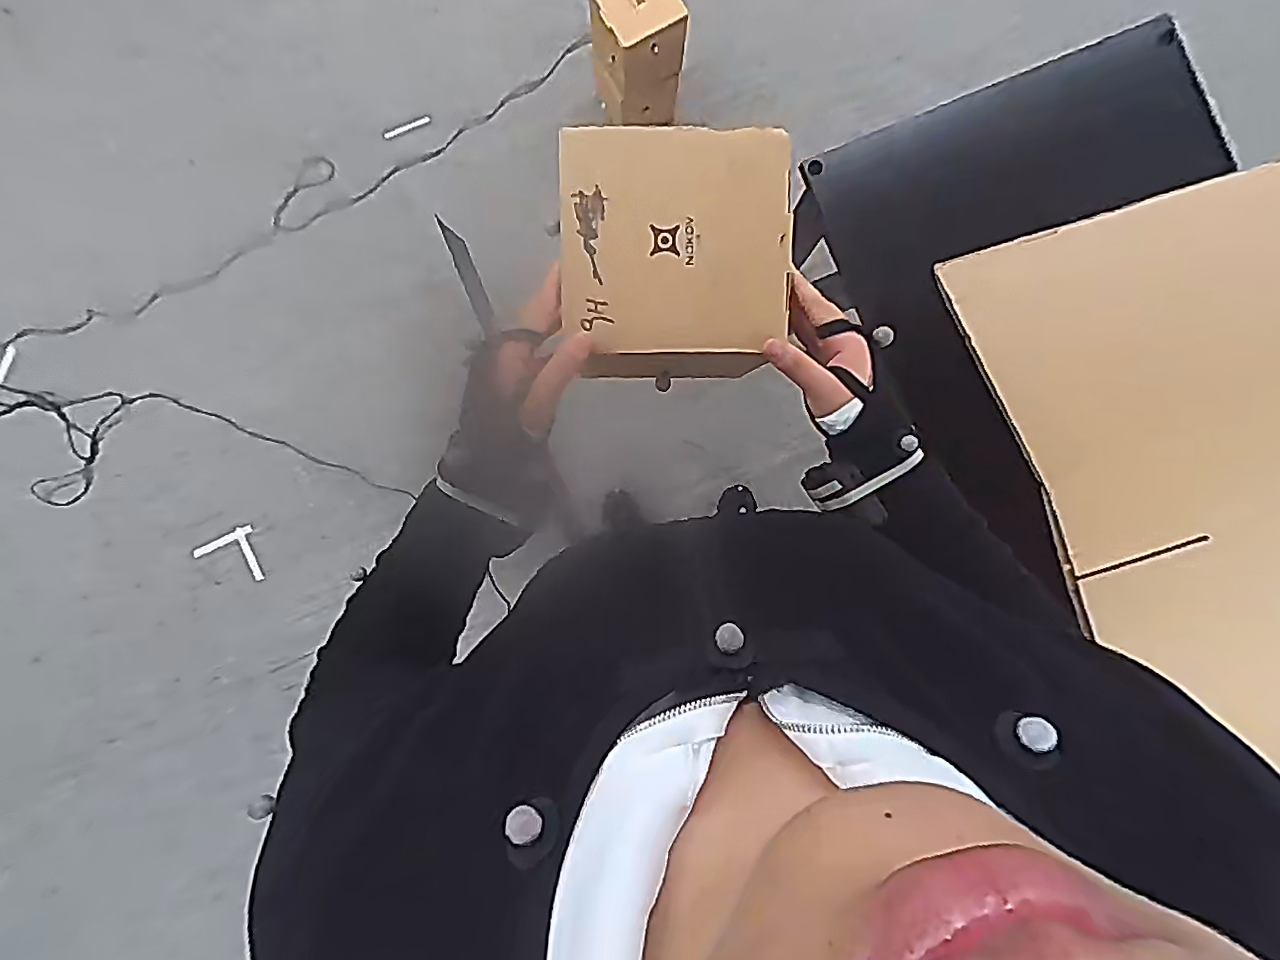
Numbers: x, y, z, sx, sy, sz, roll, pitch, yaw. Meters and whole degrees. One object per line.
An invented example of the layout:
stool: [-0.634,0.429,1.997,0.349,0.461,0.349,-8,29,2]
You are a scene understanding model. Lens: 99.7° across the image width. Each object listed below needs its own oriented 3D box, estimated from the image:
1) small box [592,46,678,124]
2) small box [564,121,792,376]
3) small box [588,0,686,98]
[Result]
small box: [-0.015,-1.076,1.476,0.179,0.176,0.168,-27,88,-1]
small box: [0.024,-0.189,0.489,0.179,0.176,0.168,-1,93,-3]
small box: [-0.007,-1.086,1.313,0.179,0.176,0.168,-30,89,-2]
